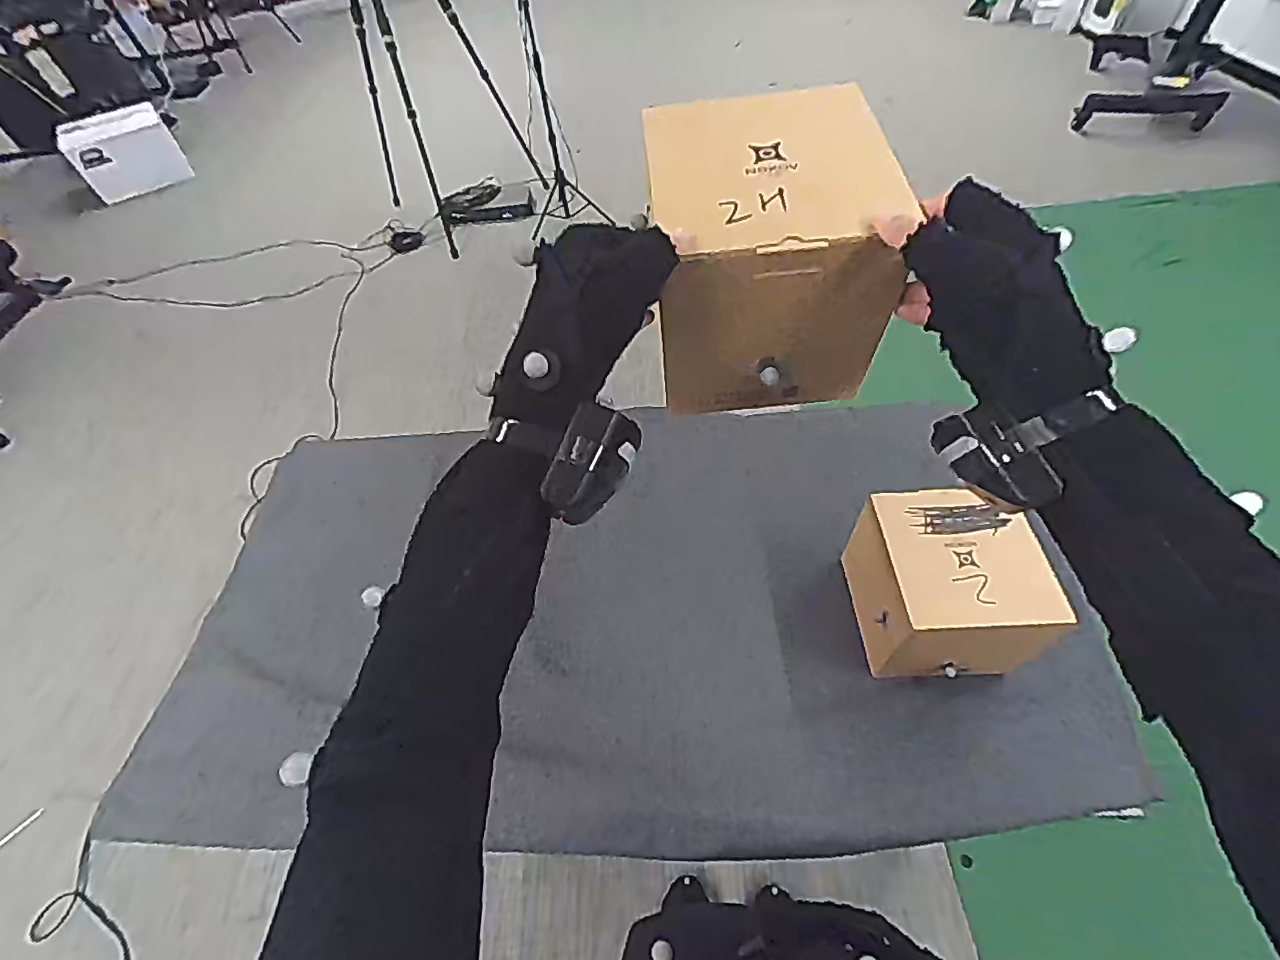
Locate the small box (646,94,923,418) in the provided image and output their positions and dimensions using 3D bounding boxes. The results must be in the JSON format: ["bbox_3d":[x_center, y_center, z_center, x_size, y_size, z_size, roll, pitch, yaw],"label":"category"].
[{"bbox_3d":[0.093,-0.173,0.441,0.168,0.176,0.179,-5,60,3],"label":"small box"}]
